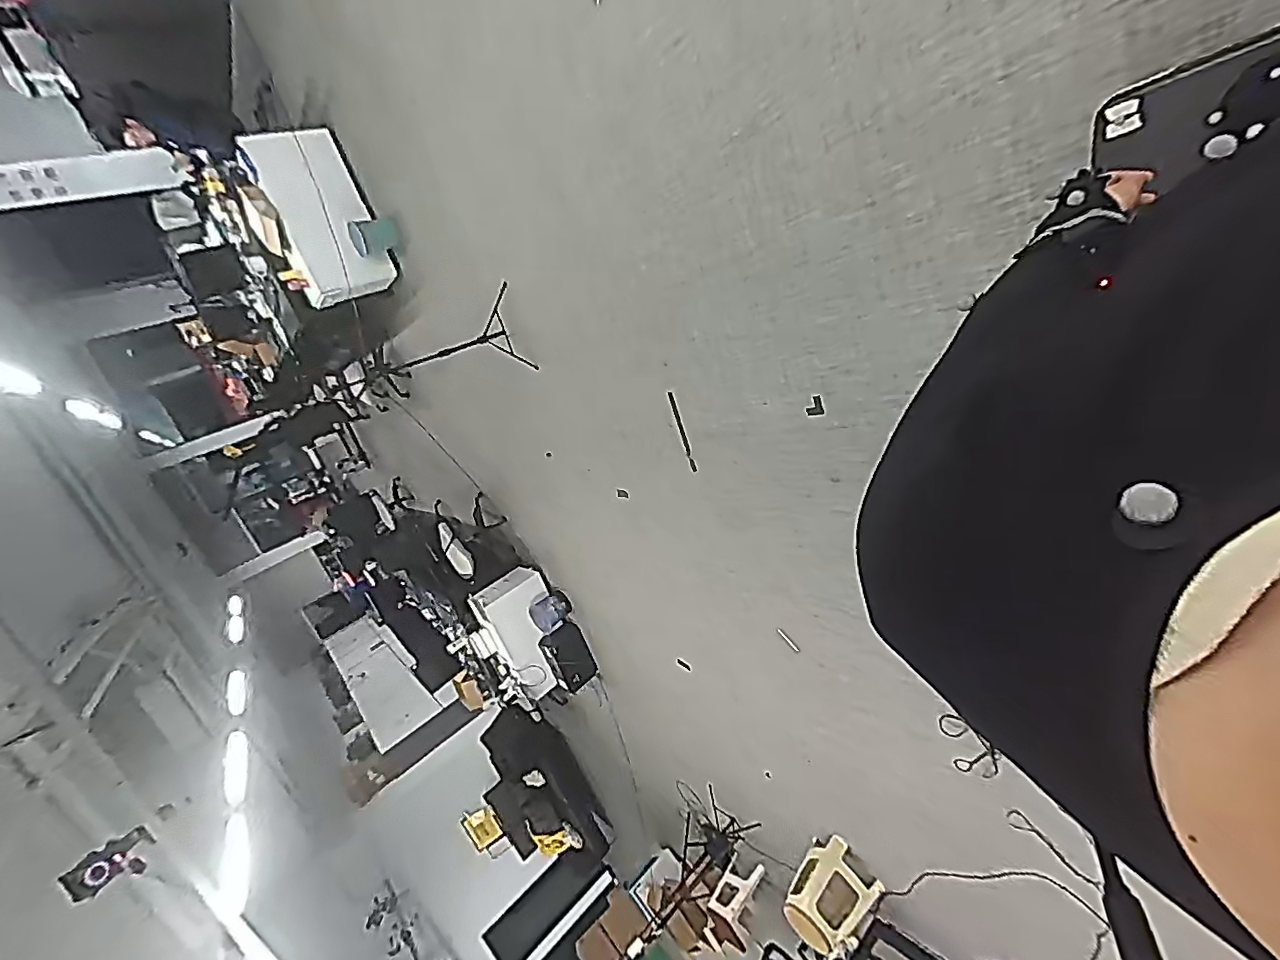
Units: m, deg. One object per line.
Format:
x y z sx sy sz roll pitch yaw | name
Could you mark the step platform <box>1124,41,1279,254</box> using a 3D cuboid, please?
1.139 -0.543 0.762 0.684 0.204 0.286 7 121 50 | step platform
